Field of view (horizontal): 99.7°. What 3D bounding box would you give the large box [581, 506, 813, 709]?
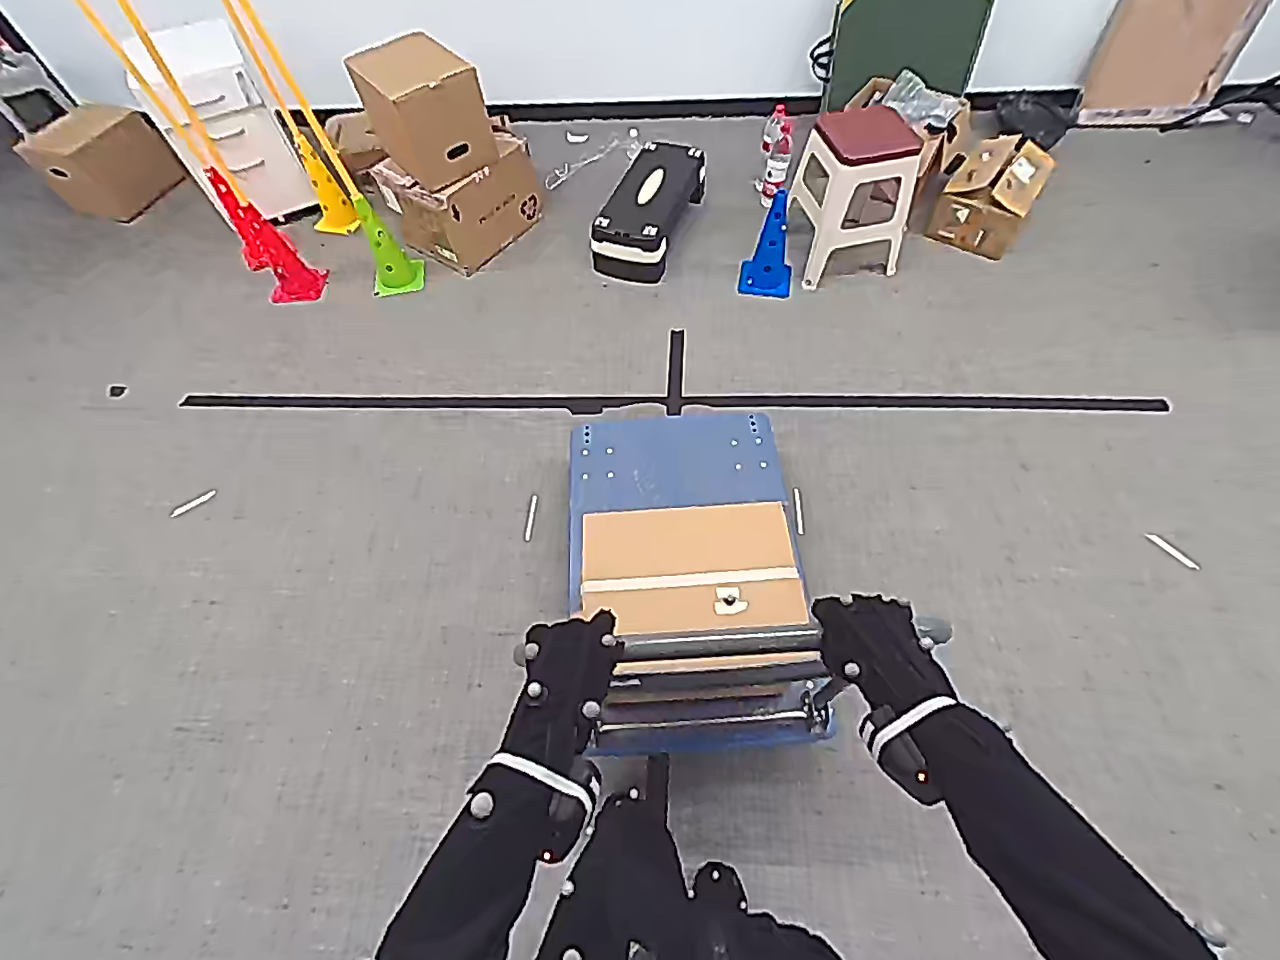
[{"bbox_3d":[0.093,0.274,1.127,0.408,0.320,0.320,-4,59,0],"label":"large box"}]
